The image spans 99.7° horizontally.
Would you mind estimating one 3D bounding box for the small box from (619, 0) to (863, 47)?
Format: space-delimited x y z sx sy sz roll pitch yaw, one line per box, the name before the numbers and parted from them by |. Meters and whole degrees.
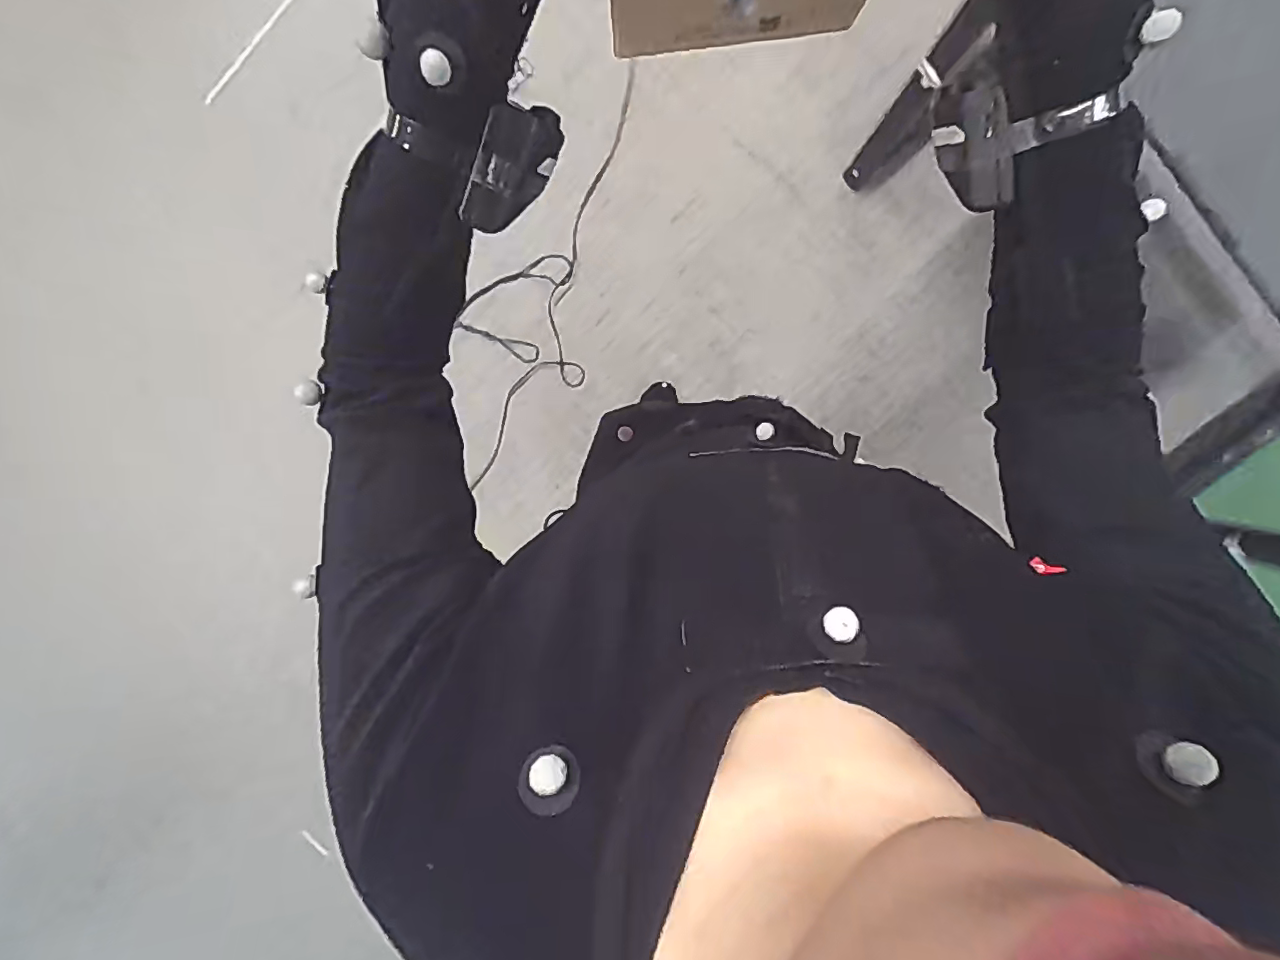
small box | 0.062 -0.377 0.280 0.168 0.176 0.179 -5 100 1
